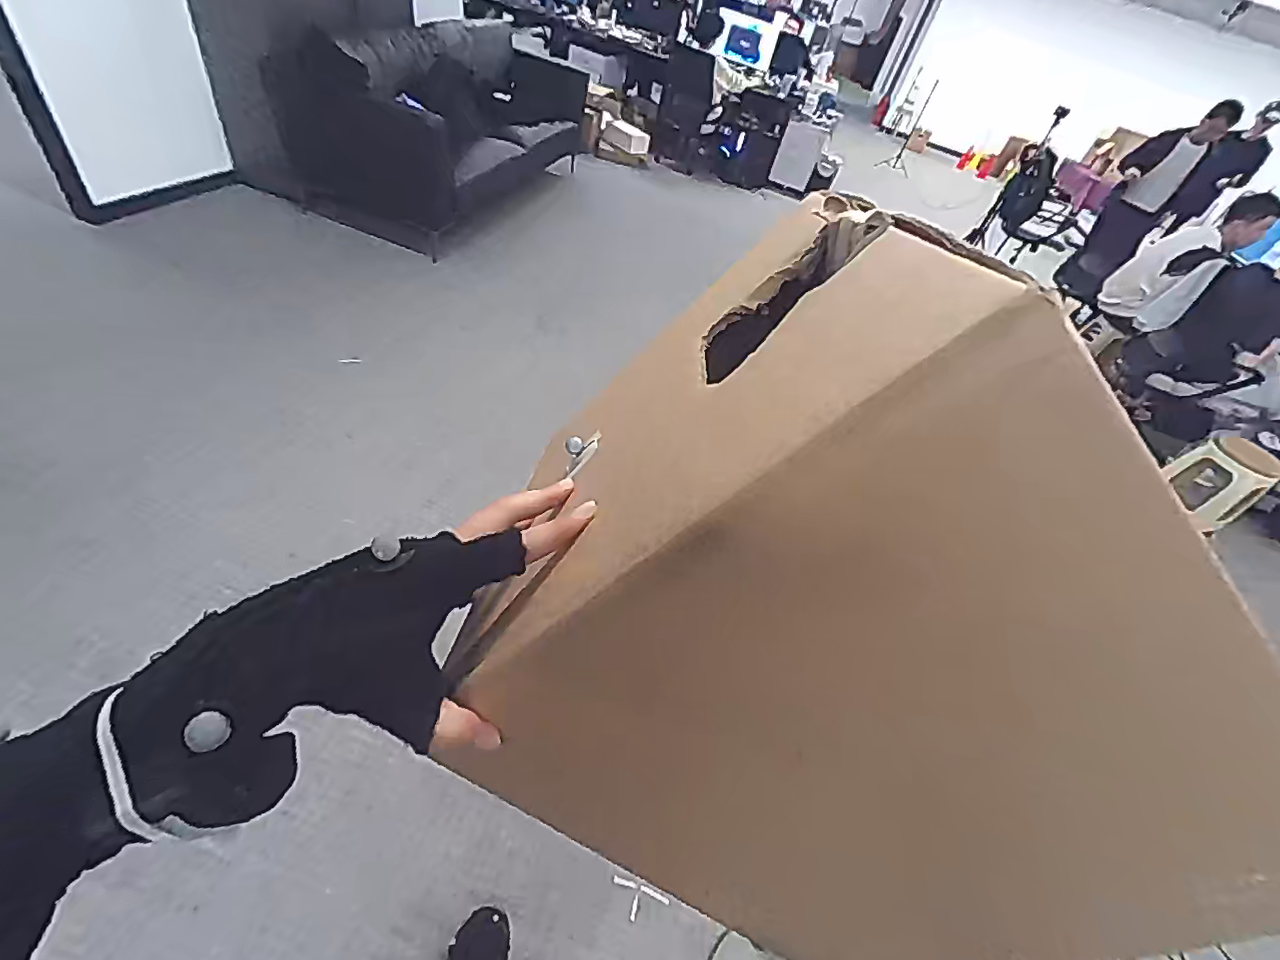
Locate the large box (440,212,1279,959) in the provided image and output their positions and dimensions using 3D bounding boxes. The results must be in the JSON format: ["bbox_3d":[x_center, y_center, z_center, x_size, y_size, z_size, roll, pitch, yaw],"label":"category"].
[{"bbox_3d":[0.145,0.085,0.403,0.408,0.320,0.320,43,27,-19],"label":"large box"}]
